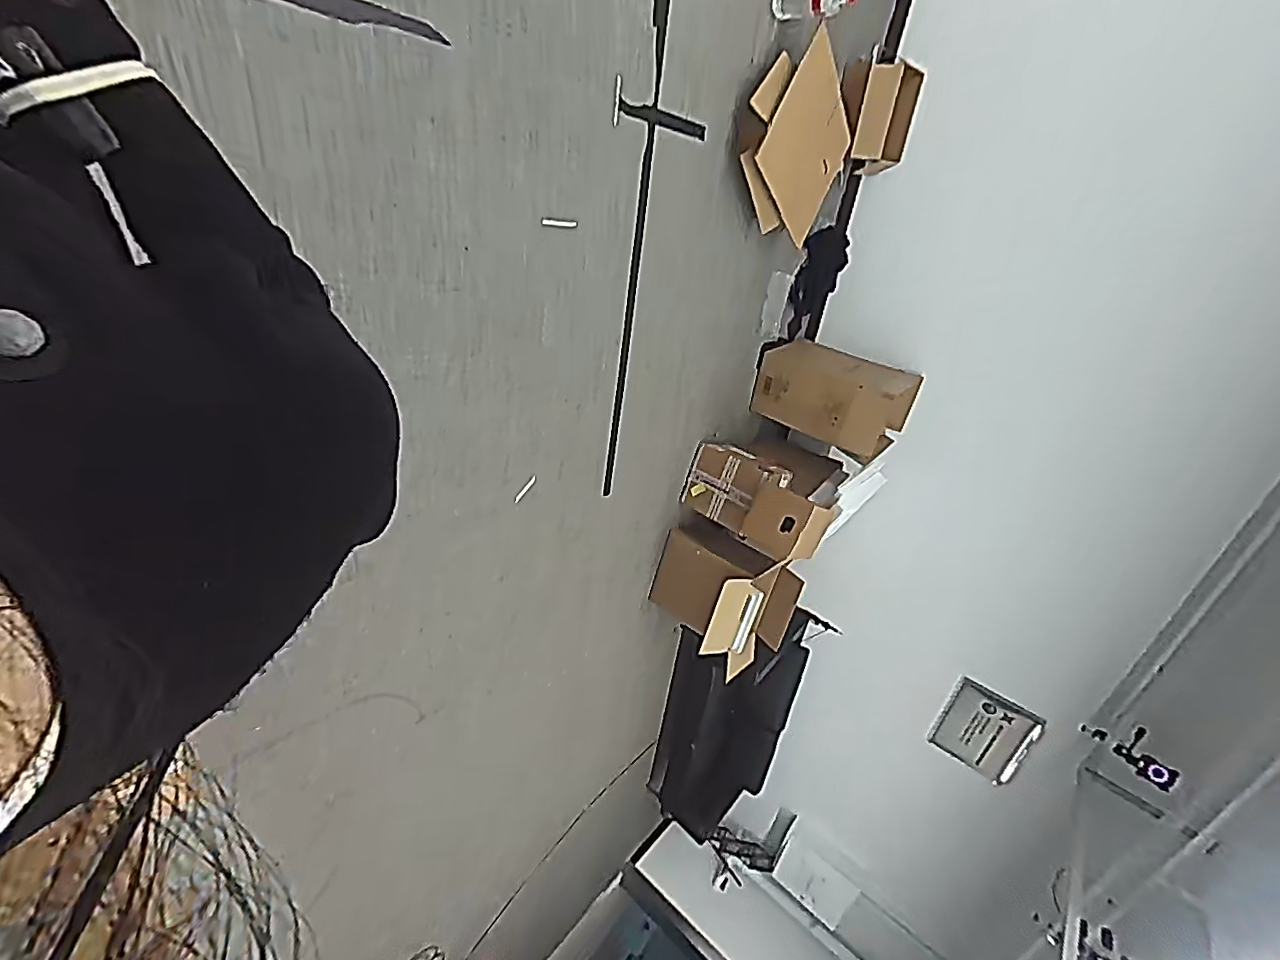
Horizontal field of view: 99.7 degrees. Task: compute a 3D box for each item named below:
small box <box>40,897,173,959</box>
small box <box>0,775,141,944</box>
[{"bbox_3d":[-0.886,0.859,0.891,0.179,0.176,0.168,-20,129,-48],"label":"small box"},{"bbox_3d":[-1.137,0.730,1.061,0.179,0.176,0.168,-23,130,-45],"label":"small box"}]
